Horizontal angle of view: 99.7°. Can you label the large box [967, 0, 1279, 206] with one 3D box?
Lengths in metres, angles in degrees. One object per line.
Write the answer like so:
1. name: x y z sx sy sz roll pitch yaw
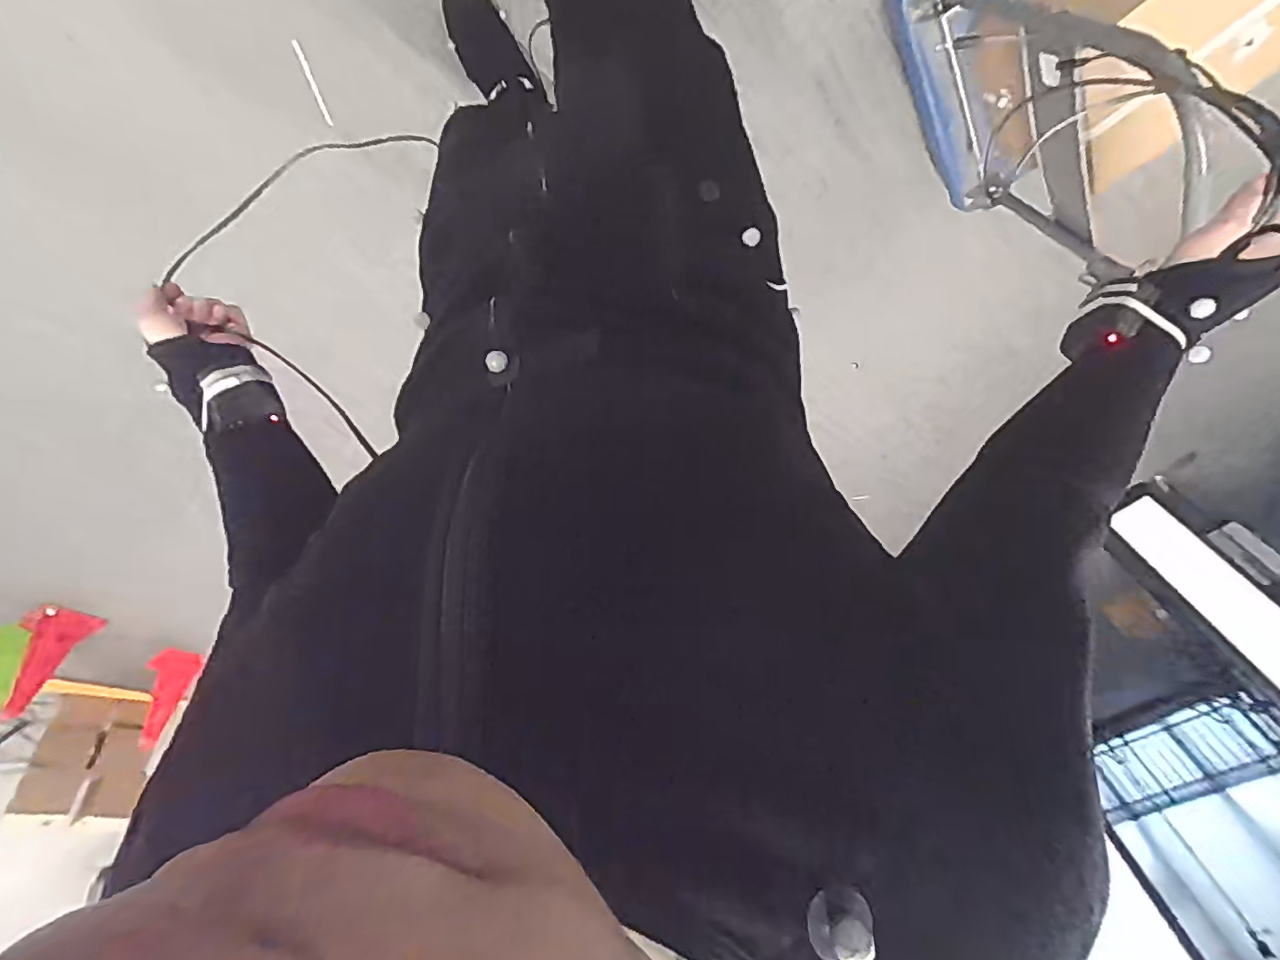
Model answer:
1. large box: 0.945 -0.839 1.045 0.408 0.320 0.320 -36 134 20
